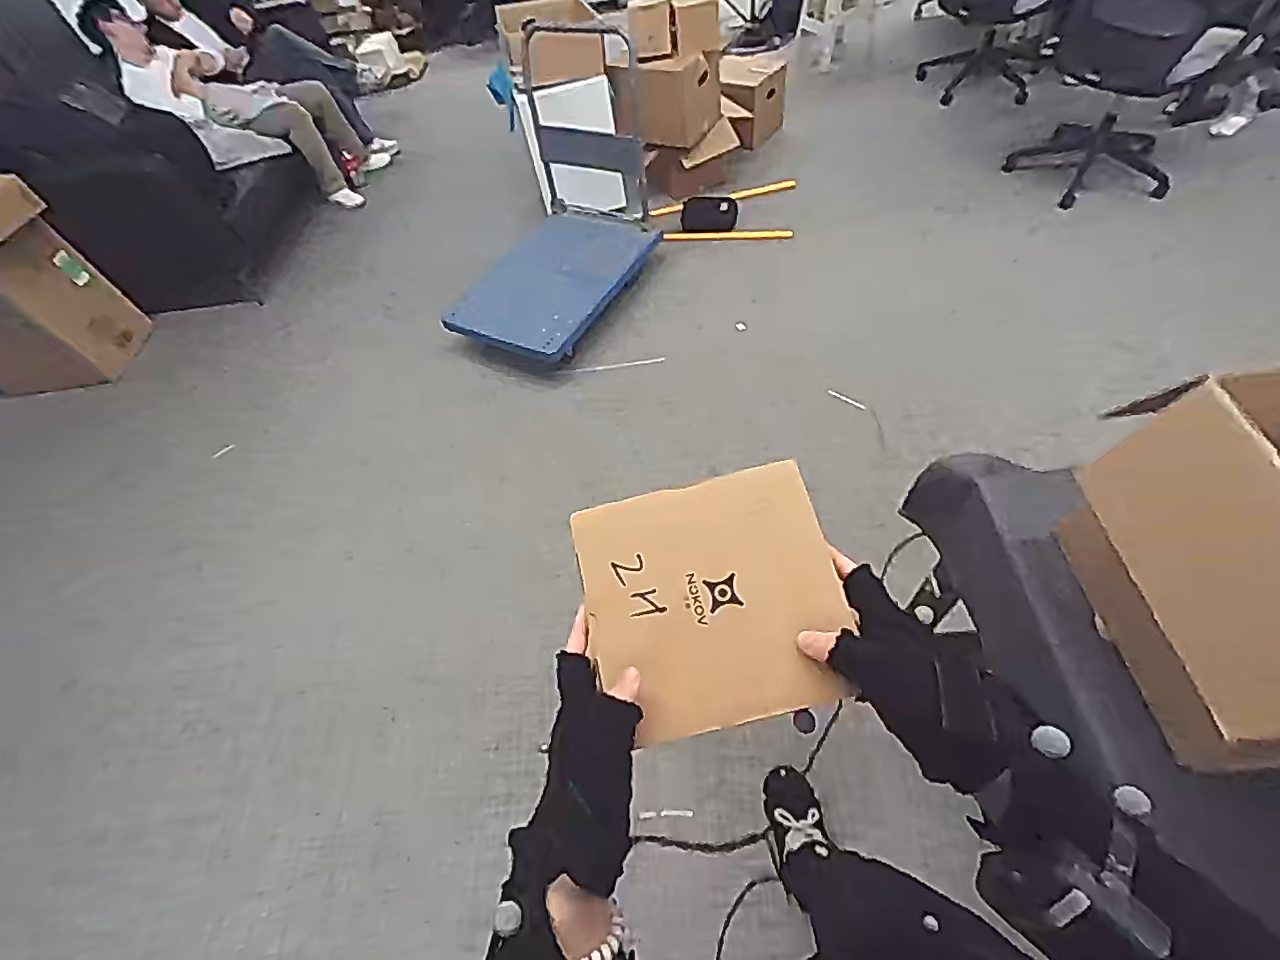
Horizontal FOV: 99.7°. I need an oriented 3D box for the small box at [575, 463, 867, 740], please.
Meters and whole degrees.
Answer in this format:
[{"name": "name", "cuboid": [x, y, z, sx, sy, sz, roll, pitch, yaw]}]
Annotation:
[{"name": "small box", "cuboid": [0.056, 0.106, 0.453, 0.179, 0.176, 0.168, -13, 67, 1]}]
